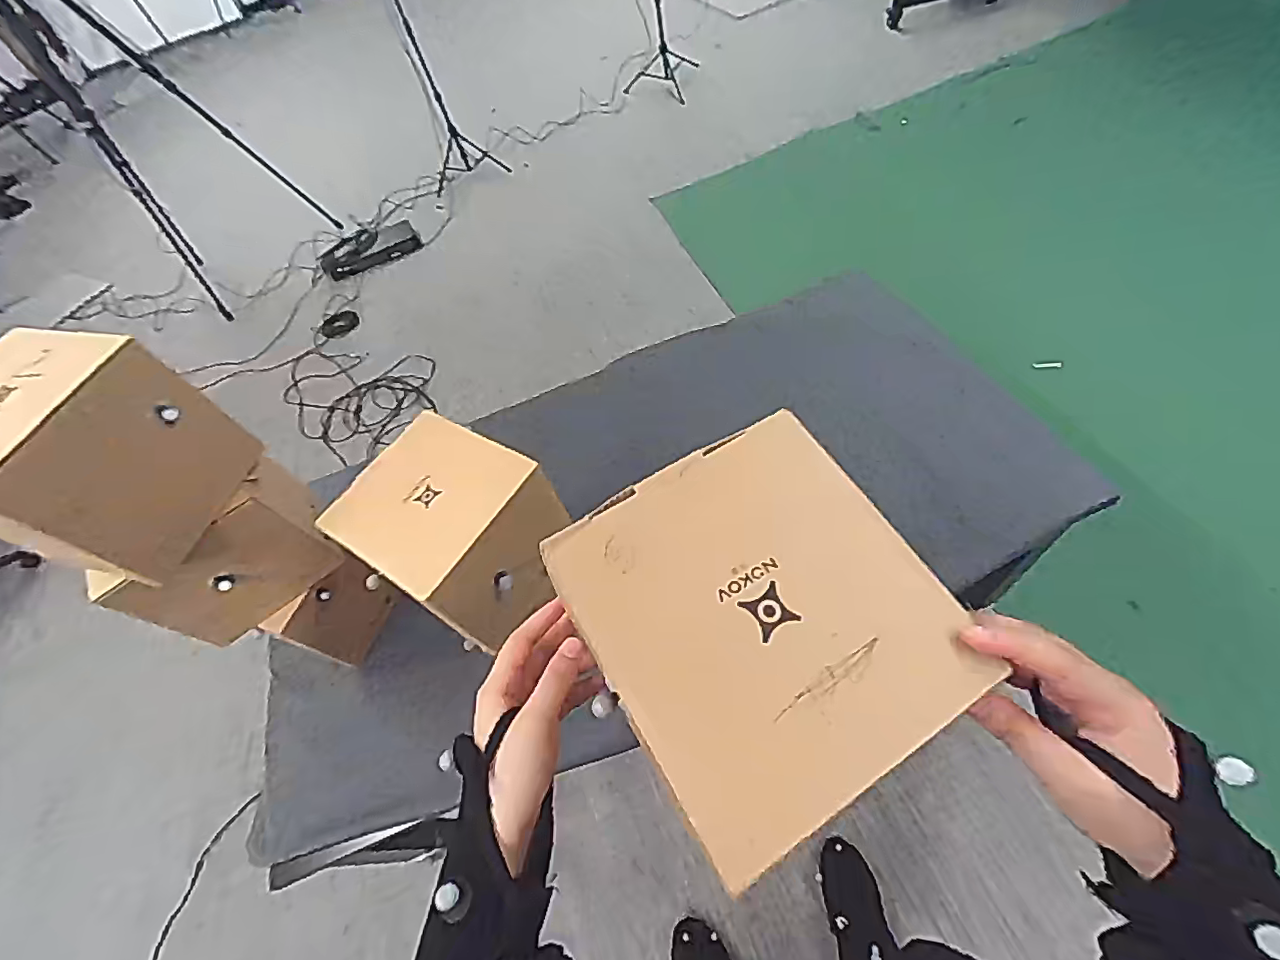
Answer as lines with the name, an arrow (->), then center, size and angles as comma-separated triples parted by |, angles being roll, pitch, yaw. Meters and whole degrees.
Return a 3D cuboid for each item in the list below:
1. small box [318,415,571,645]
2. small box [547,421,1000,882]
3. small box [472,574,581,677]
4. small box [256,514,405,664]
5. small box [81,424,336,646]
small box -> -0.196, 0.063, 0.602 | 0.179, 0.176, 0.168 | 24, 65, 26
small box -> 0.060, 0.101, 0.343 | 0.168, 0.176, 0.179 | -28, 68, -13
small box -> -0.162, 0.144, 0.738 | 0.179, 0.176, 0.168 | 35, 70, 30
small box -> -0.484, 0.157, 0.805 | 0.179, 0.176, 0.168 | 11, 60, 19
small box -> -0.513, 0.071, 0.667 | 0.179, 0.176, 0.168 | -39, 58, -13
